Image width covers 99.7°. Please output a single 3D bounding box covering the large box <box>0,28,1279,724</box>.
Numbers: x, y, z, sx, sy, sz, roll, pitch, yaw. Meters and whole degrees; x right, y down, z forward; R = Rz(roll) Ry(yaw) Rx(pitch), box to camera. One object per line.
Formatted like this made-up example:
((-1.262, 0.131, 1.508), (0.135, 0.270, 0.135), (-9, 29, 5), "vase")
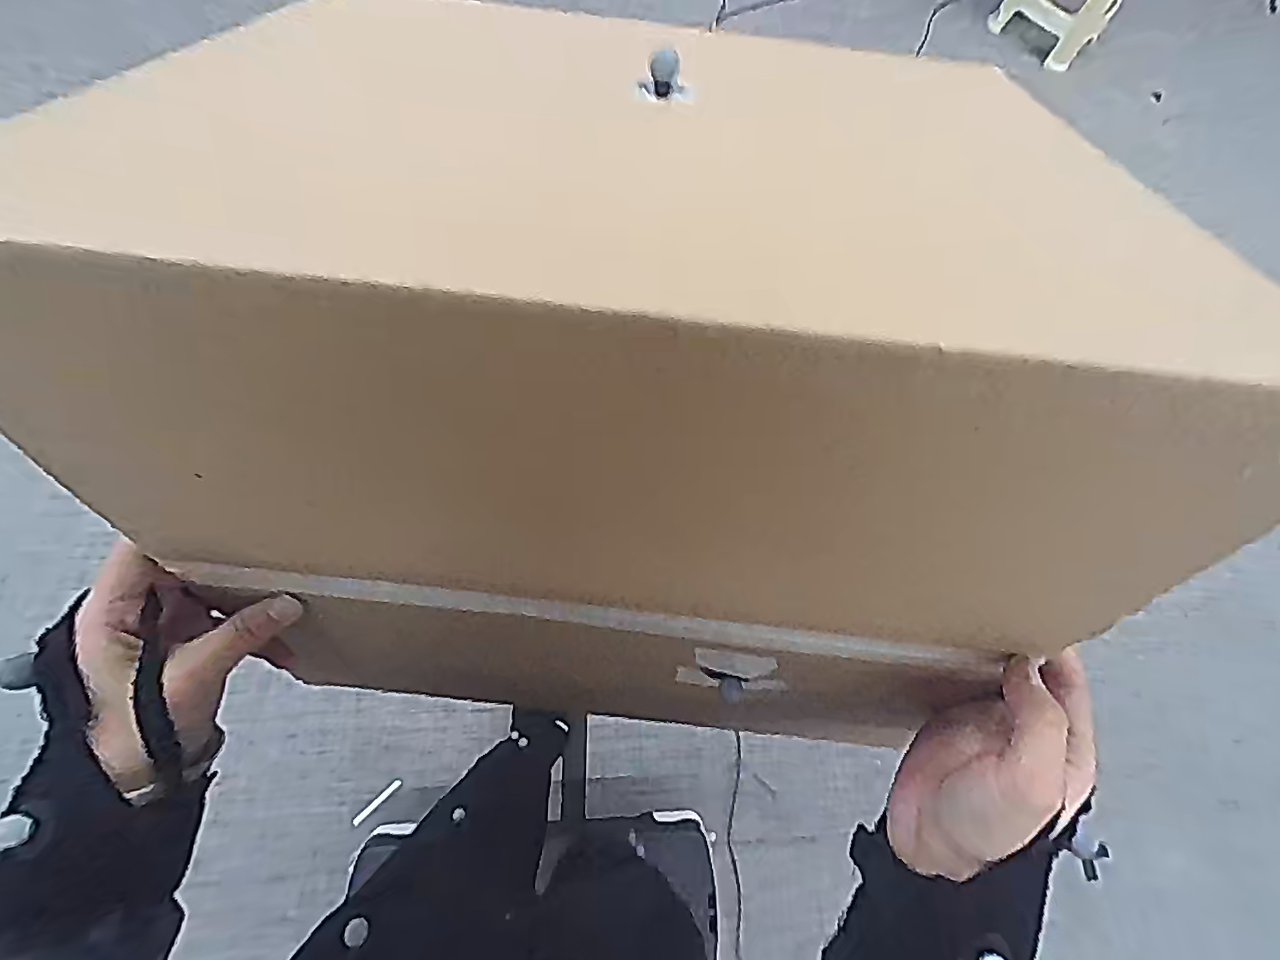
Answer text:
((-0.009, -0.061, 0.355), (0.408, 0.320, 0.320), (5, 51, 0), "large box")
